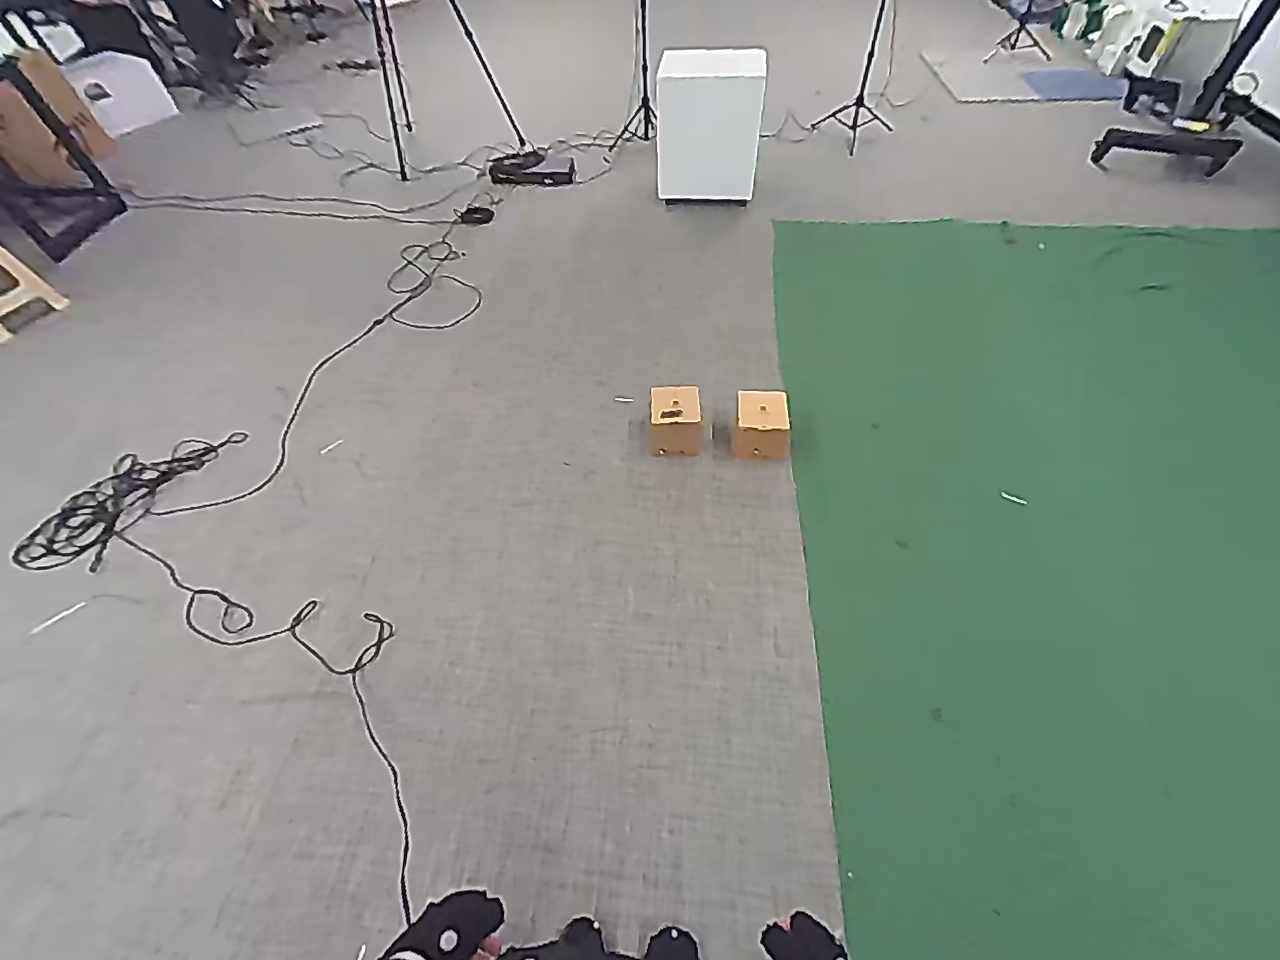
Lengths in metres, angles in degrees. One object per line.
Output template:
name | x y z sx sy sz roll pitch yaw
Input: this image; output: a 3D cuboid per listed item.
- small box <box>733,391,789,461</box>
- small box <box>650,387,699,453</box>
small box | 0.412 -0.186 1.875 0.168 0.176 0.179 2 53 5
small box | 0.121 -0.207 1.899 0.168 0.176 0.179 0 52 1
